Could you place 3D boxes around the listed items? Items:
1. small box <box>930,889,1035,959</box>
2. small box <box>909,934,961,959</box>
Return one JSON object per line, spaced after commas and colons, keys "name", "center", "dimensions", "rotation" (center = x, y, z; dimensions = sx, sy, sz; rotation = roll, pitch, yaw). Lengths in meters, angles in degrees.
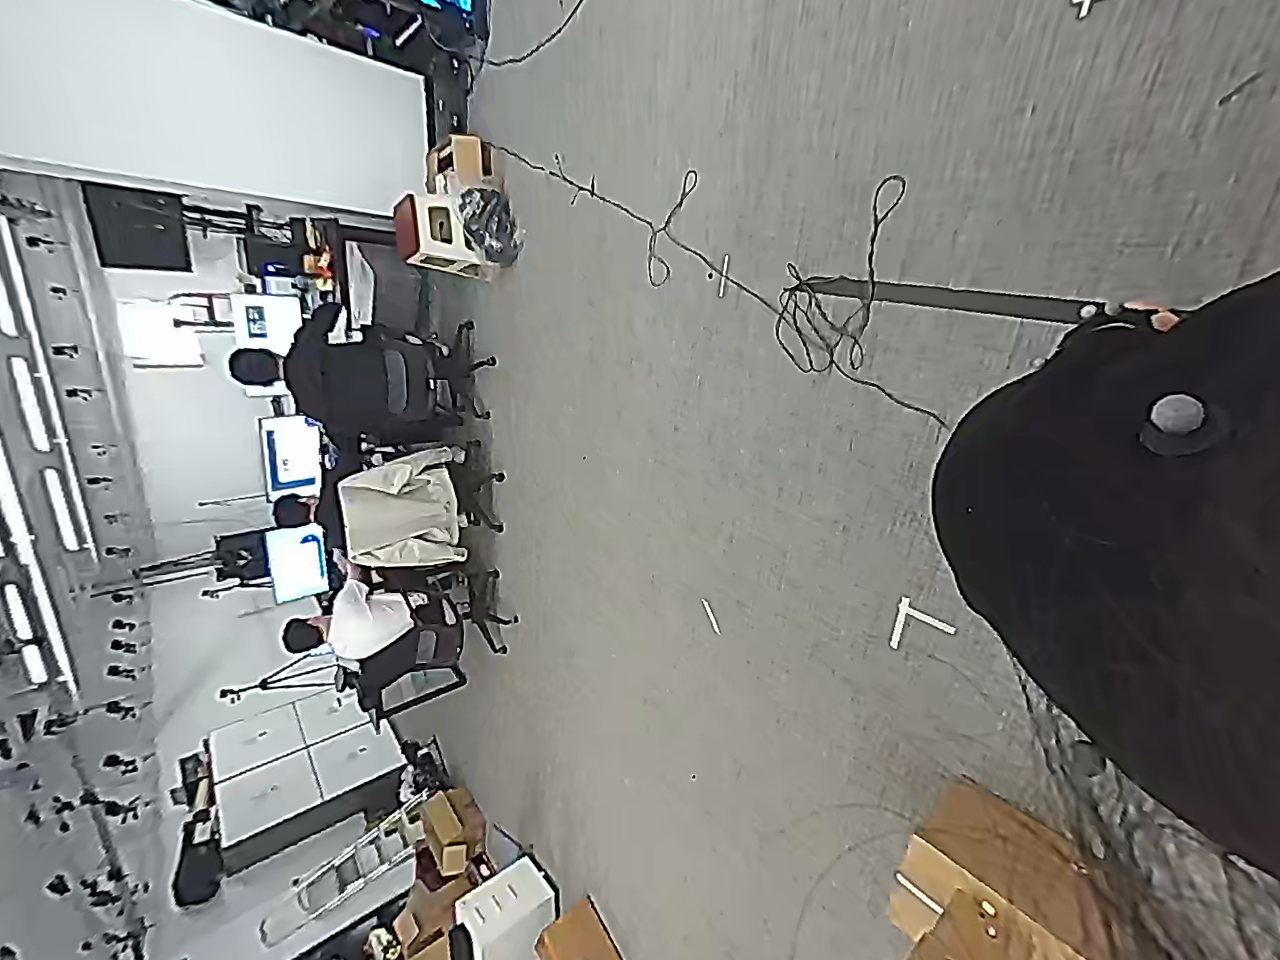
{"name": "small box", "center": [0.743, 1.080, 1.202], "dimensions": [0.168, 0.176, 0.179], "rotation": [23, 115, 45]}
{"name": "small box", "center": [0.617, 1.098, 1.102], "dimensions": [0.168, 0.176, 0.179], "rotation": [22, 116, 47]}
